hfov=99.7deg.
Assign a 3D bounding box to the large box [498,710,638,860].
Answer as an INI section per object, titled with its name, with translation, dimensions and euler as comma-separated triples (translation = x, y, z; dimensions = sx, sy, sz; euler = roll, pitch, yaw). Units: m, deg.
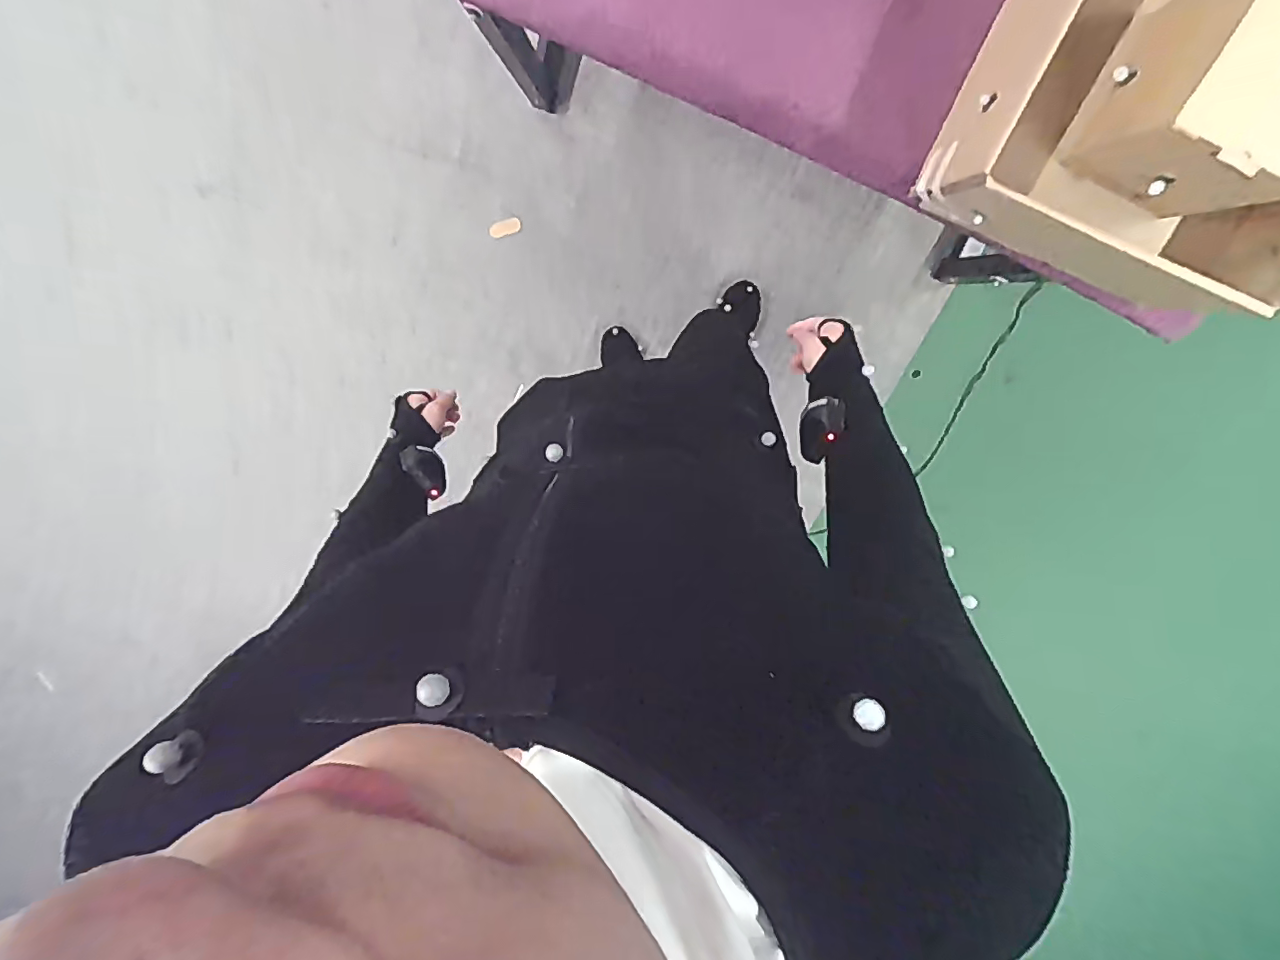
[large box]
translation = -0.234, 1.061, 1.904
dimensions = 0.408, 0.320, 0.320
euler = -10, 110, 4
